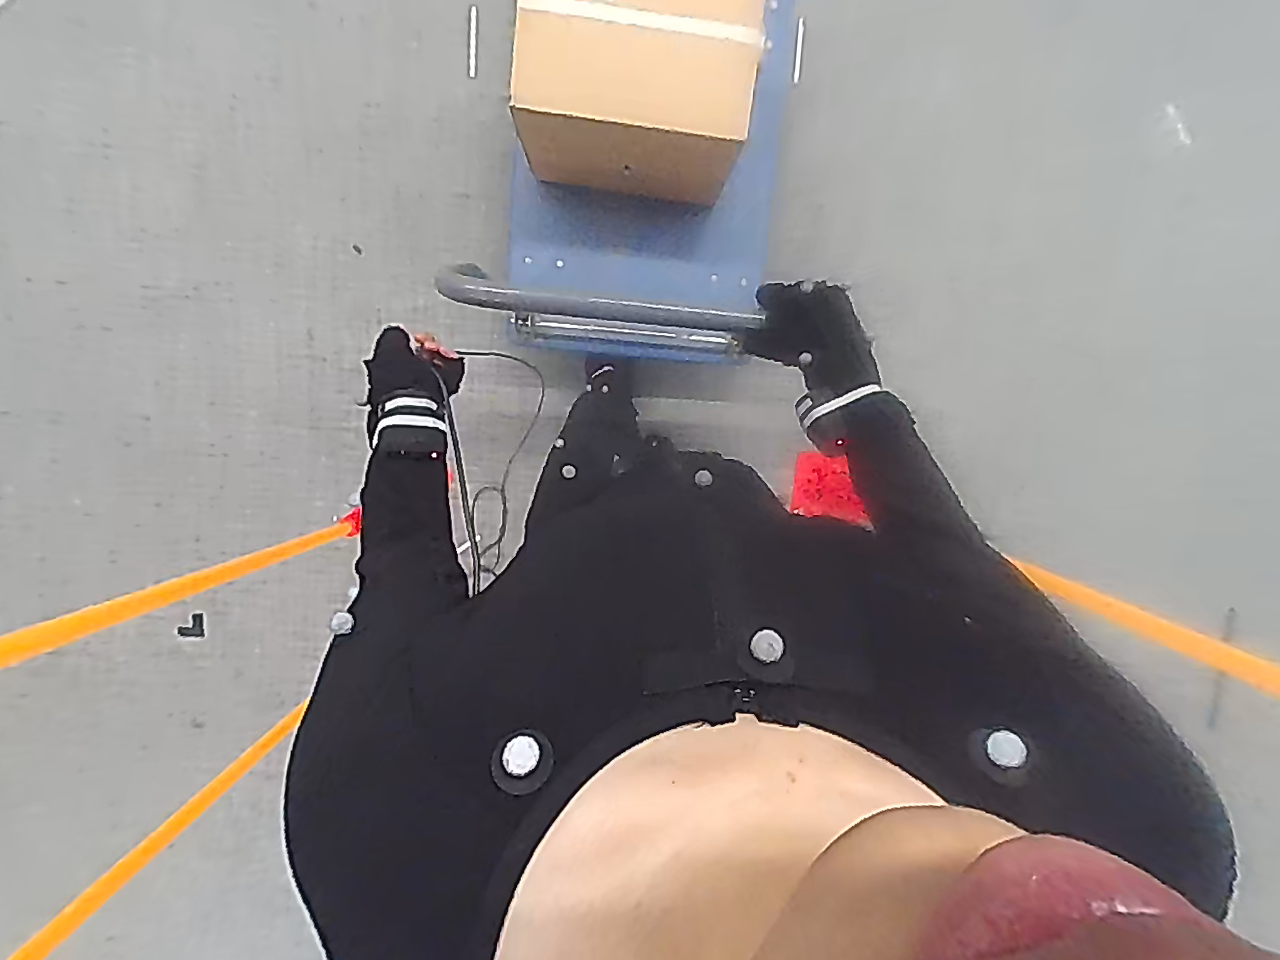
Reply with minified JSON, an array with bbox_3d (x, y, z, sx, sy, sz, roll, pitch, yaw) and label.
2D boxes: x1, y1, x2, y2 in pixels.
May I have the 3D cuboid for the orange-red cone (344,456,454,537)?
[{"bbox_3d":[-0.598,0.064,1.276,0.198,0.360,0.199,10,96,-4],"label":"orange-red cone"}]

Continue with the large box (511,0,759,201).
[{"bbox_3d":[-0.008,-0.767,1.041,0.408,0.320,0.320,6,98,-3],"label":"large box"}]

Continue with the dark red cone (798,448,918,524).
[{"bbox_3d":[0.536,0.039,1.294,0.201,0.394,0.202,3,98,-4],"label":"dark red cone"}]

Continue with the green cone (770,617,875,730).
[{"bbox_3d":[0.487,0.516,1.372,0.202,0.368,0.200,7,97,-4],"label":"green cone"}]
